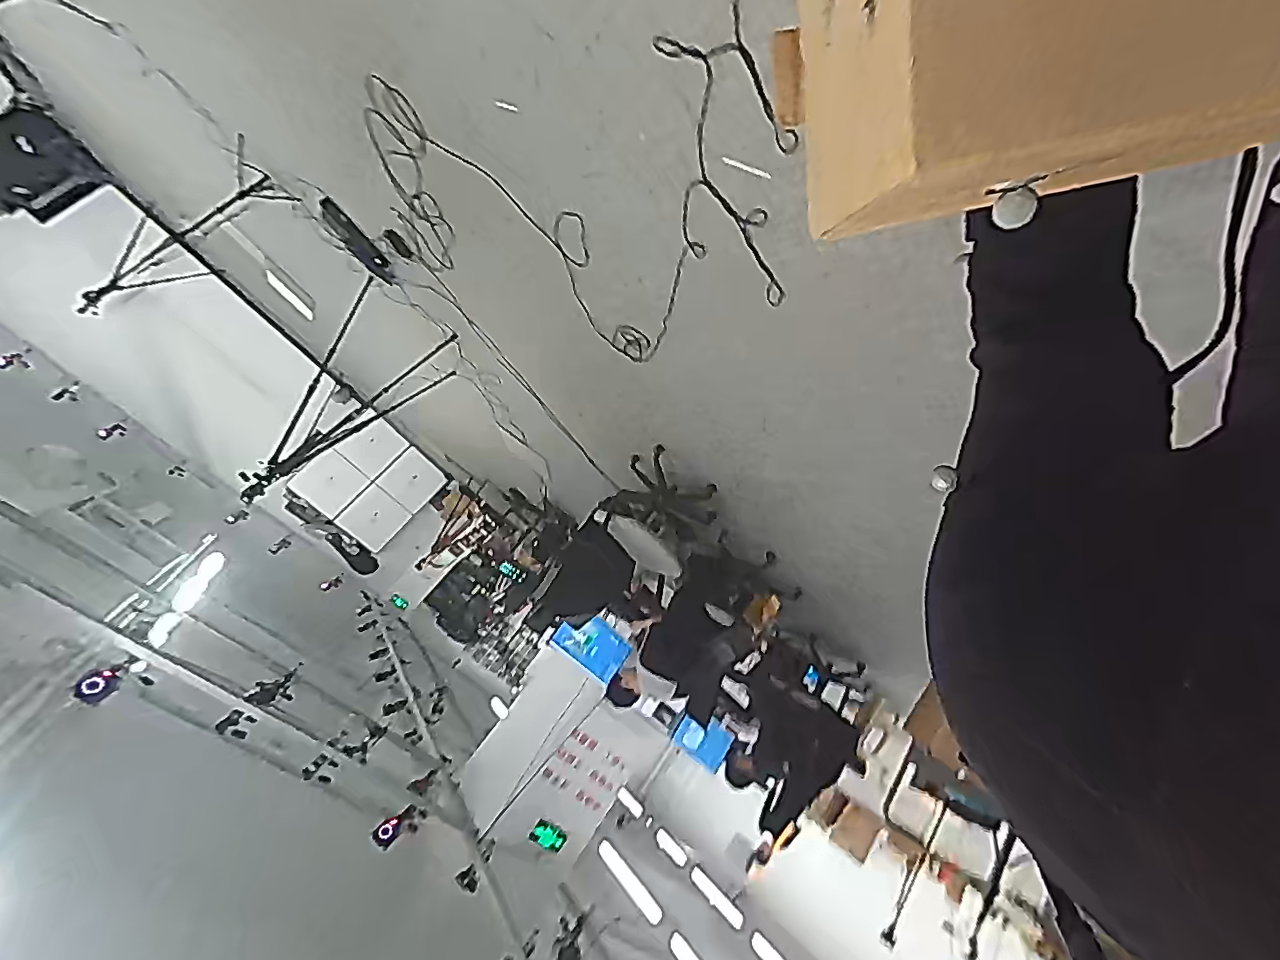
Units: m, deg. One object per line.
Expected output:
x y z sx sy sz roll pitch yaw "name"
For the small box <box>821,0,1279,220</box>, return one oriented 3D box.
0.159 -0.198 0.180 0.176 0.179 0.168 -7 108 13 "small box"
